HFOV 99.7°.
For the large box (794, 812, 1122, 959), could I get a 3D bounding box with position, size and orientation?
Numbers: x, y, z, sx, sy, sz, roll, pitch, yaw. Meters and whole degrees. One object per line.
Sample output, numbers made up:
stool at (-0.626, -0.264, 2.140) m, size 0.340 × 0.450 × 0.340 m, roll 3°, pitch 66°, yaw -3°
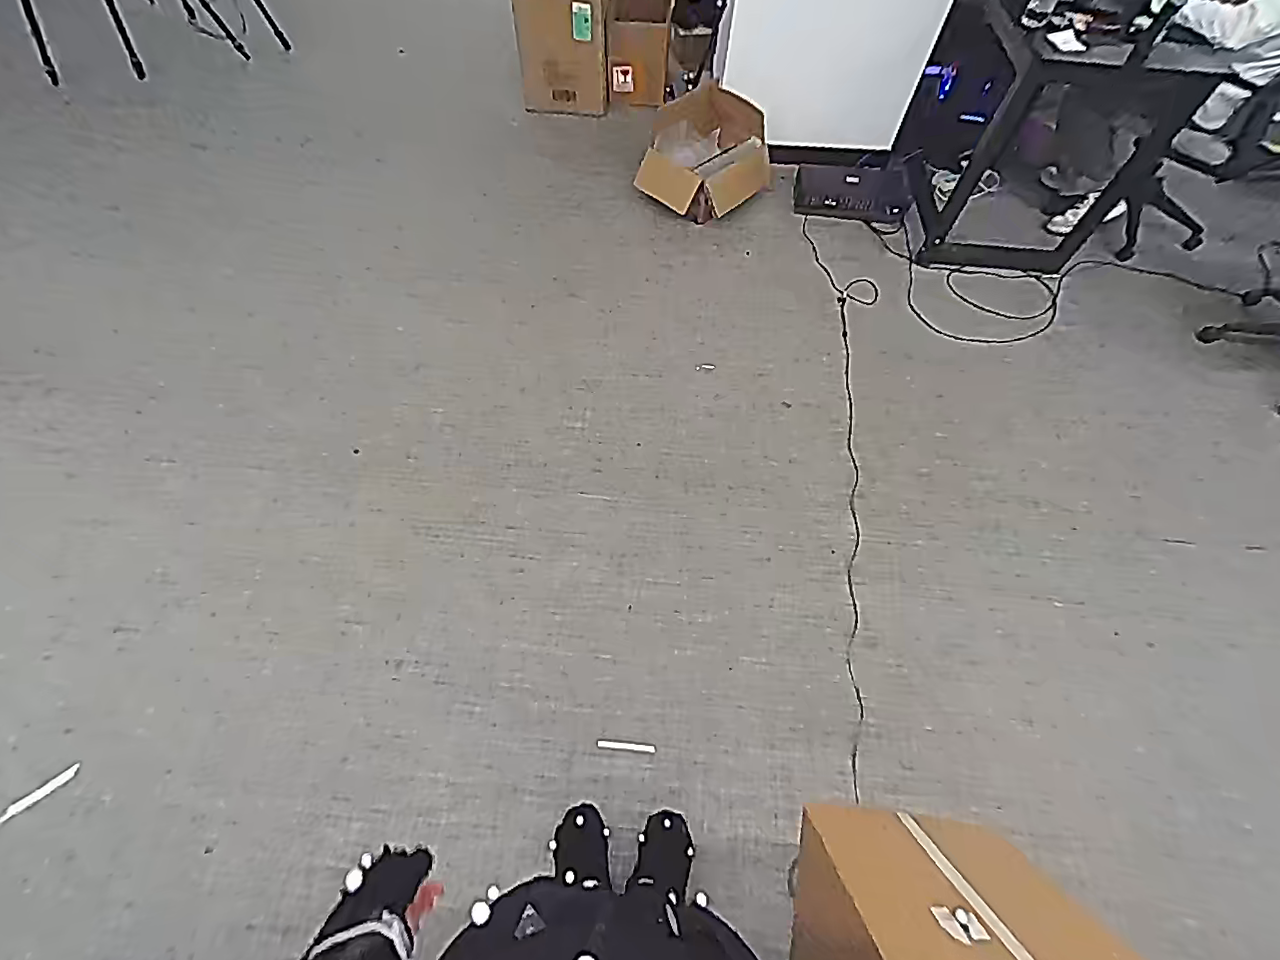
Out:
large box at (0.396, 0.691, 0.662) m, size 0.320 × 0.408 × 0.320 m, roll 7°, pitch 86°, yaw 3°
